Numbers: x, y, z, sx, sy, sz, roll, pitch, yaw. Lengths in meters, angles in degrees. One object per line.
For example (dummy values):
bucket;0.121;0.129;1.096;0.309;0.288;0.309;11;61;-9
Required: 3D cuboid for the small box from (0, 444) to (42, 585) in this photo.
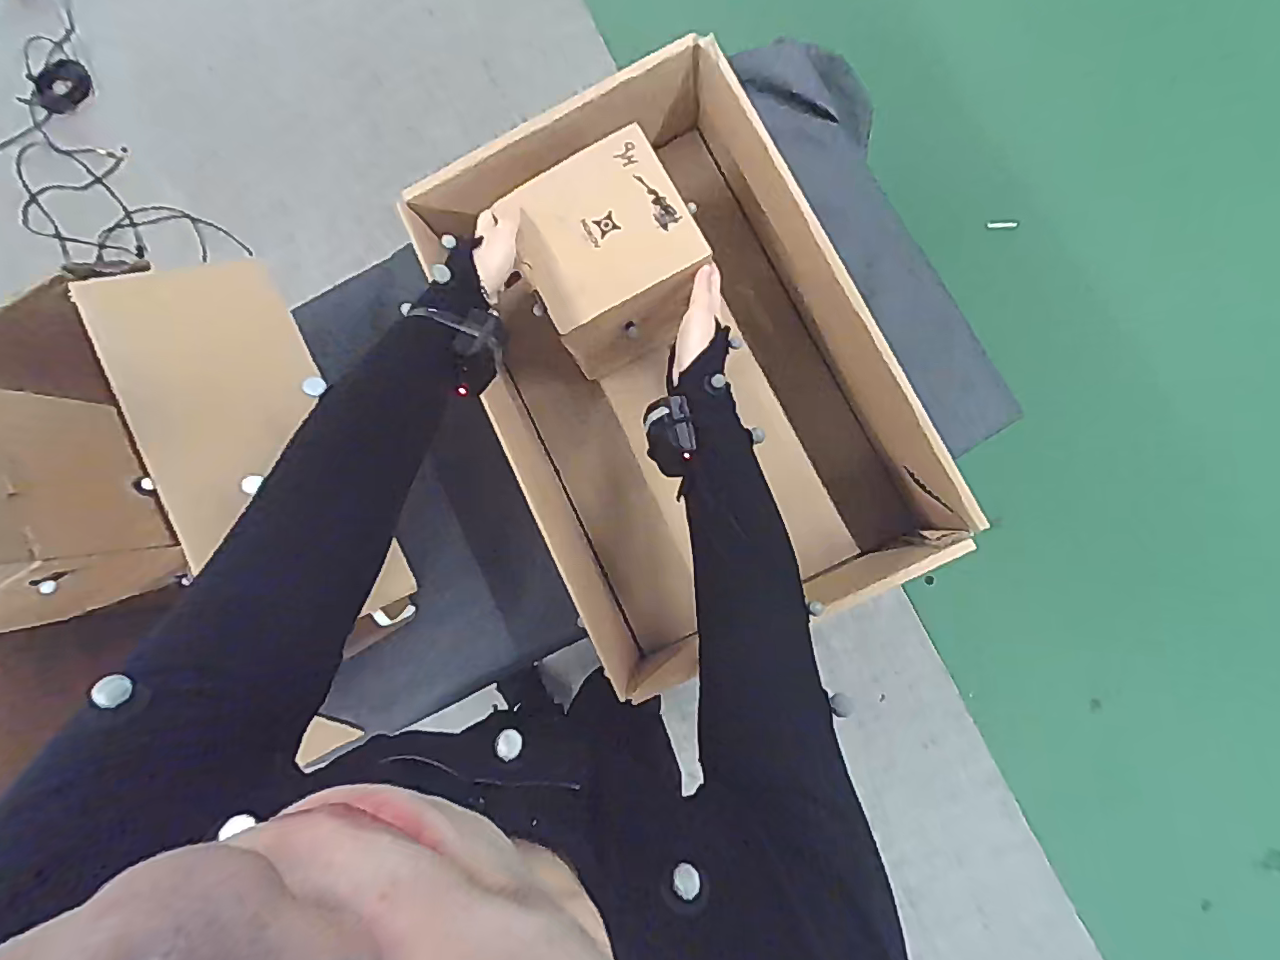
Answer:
small box;-0.592;0.019;0.366;0.168;0.176;0.179;-27;87;5
